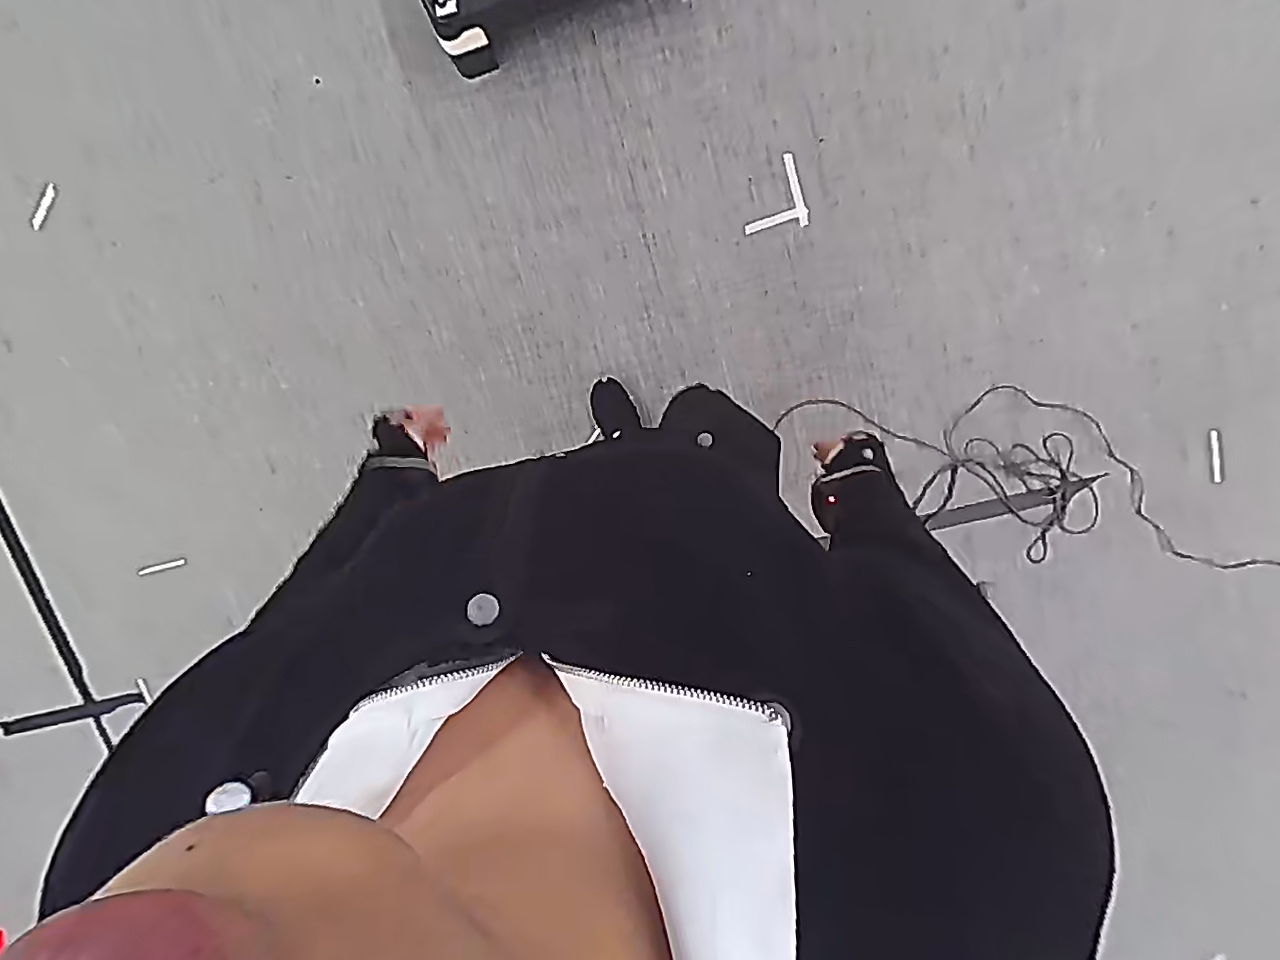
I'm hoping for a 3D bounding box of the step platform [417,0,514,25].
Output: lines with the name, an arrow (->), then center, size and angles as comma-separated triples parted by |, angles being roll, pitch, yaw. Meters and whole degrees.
step platform -> -0.161, -1.134, 0.985 | 0.684, 0.204, 0.286 | -16, 98, 5
